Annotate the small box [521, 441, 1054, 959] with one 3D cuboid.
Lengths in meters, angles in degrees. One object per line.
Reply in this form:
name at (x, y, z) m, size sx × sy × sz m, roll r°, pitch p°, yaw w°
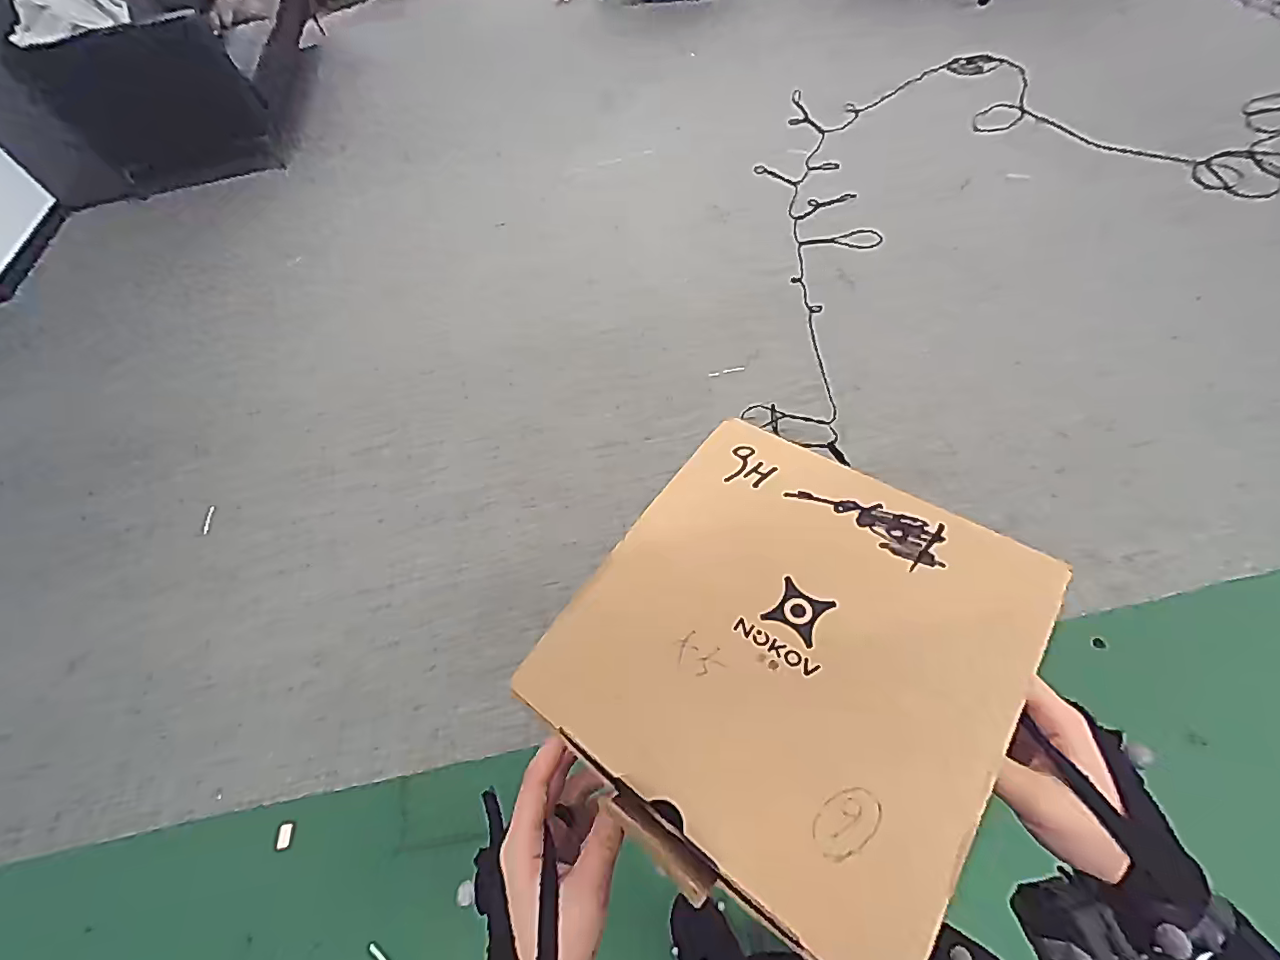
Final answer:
small box at (0.073, 0.118, 0.295) m, size 0.168 × 0.176 × 0.179 m, roll 29°, pitch 64°, yaw 26°
